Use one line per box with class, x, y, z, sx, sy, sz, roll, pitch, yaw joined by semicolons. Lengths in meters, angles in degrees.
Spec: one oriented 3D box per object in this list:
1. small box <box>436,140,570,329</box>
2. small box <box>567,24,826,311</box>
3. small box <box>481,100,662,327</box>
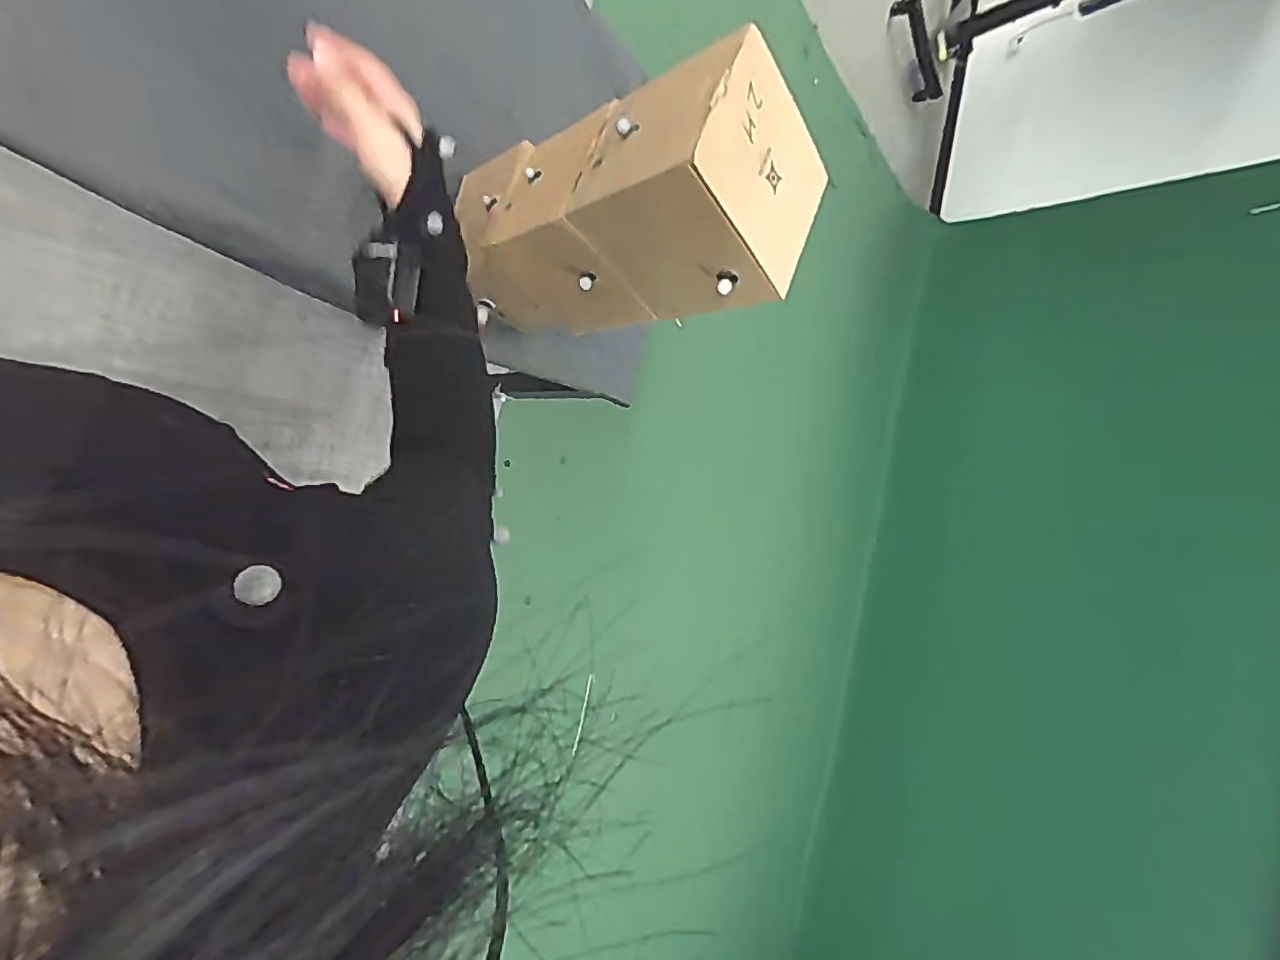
small box;-0.171;-0.338;0.786;0.168;0.176;0.179;19;83;-44
small box;0.060;-0.294;0.558;0.179;0.176;0.168;35;70;-41
small box;-0.059;-0.308;0.671;0.179;0.176;0.168;33;72;-41
